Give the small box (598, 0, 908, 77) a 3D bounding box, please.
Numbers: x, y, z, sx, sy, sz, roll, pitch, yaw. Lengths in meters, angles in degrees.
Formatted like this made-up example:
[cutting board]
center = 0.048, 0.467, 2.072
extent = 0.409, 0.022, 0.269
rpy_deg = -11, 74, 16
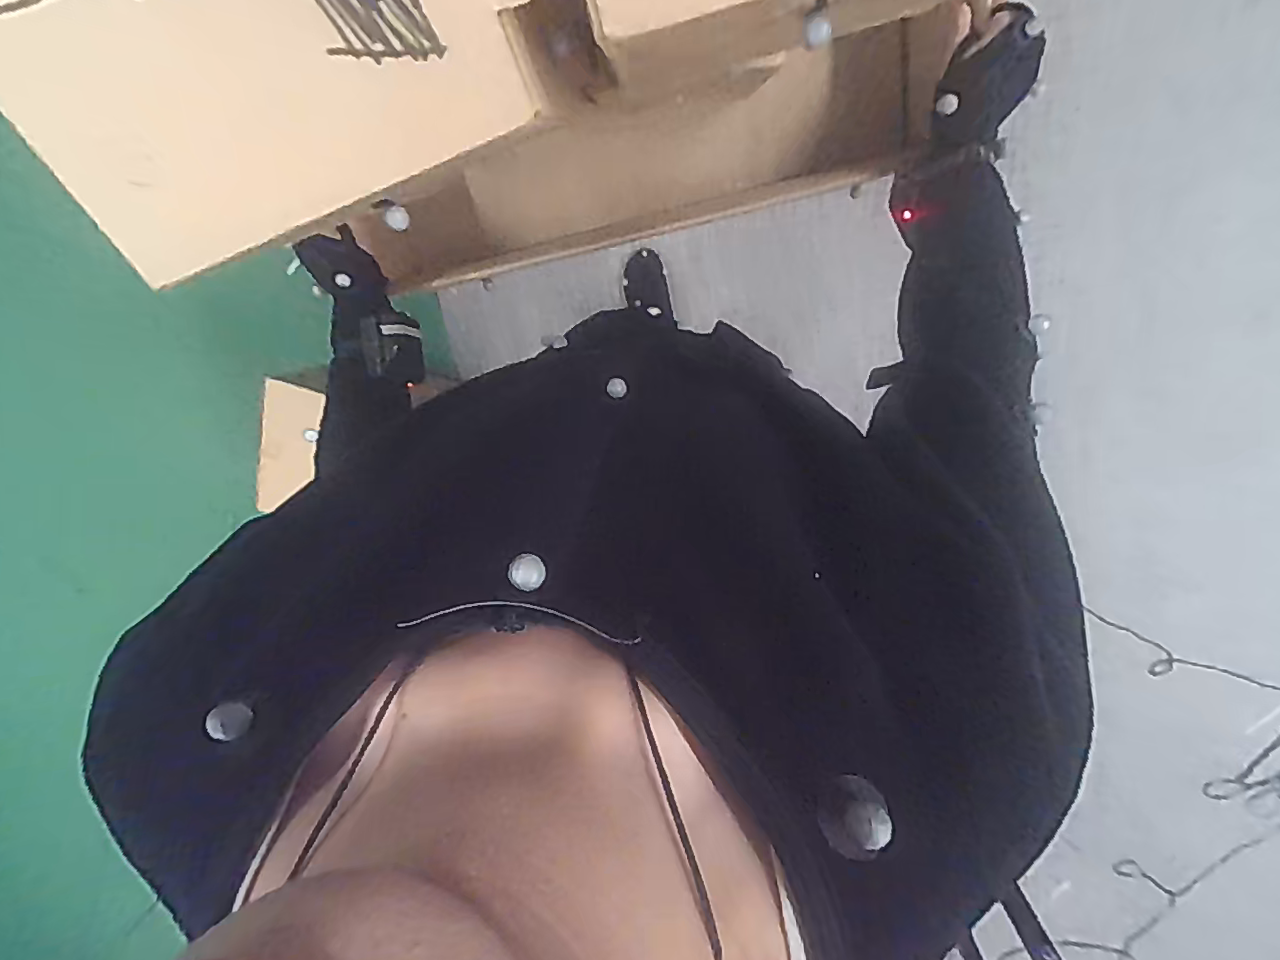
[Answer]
[small box]
center = 0.055, -0.280, 0.203
extent = 0.179, 0.176, 0.168
rpy_deg = -10, 118, 8
